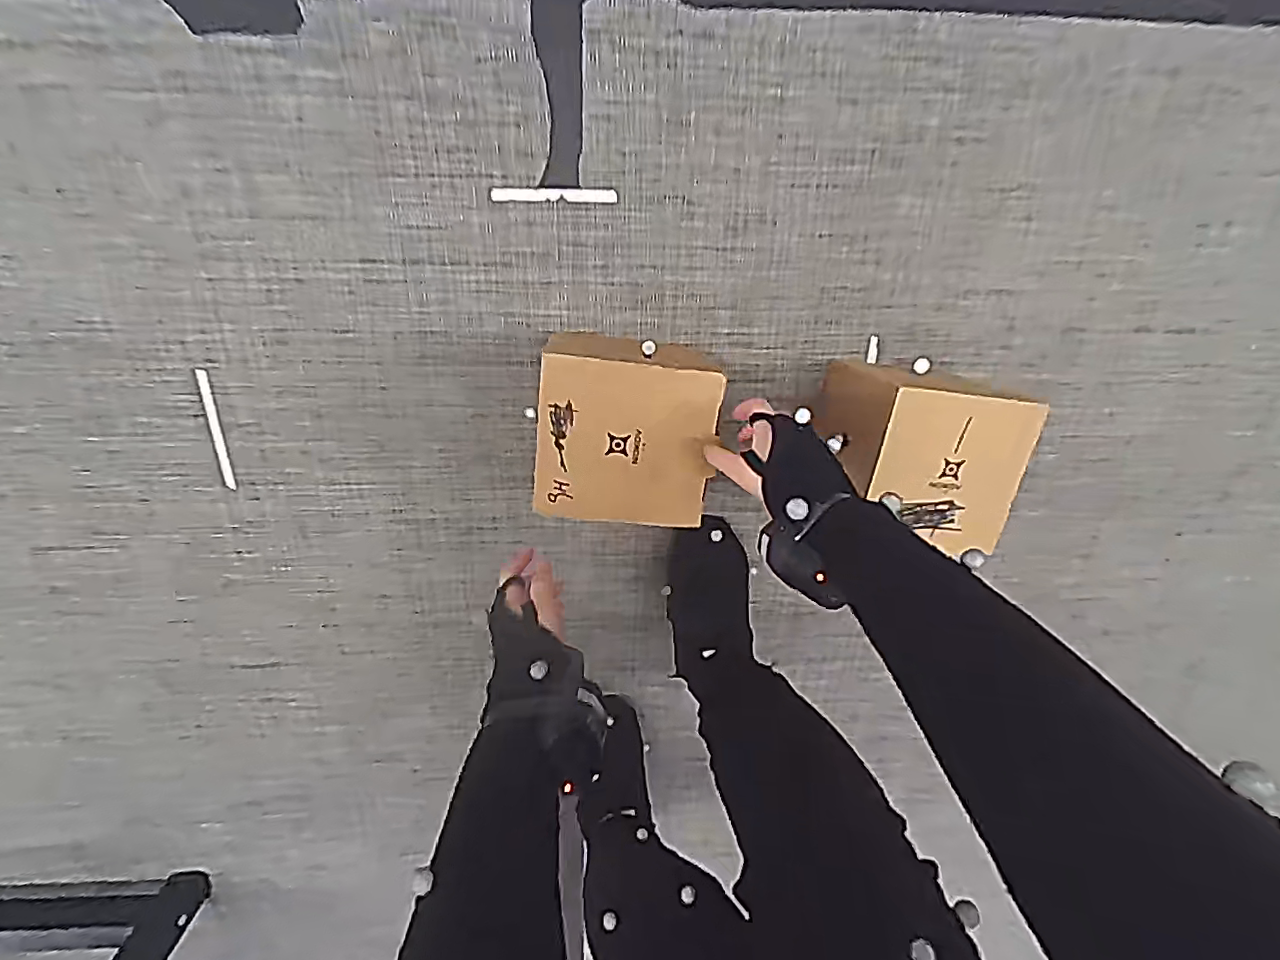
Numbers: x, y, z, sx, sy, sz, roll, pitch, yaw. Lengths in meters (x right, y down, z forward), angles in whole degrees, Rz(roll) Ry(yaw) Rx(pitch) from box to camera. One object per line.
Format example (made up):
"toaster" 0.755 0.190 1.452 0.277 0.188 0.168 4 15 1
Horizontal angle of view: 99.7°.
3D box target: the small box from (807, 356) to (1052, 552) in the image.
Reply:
"small box" 0.313 -0.037 0.631 0.168 0.176 0.179 6 110 -7

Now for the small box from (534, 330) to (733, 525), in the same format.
"small box" -0.017 -0.065 0.593 0.179 0.176 0.168 5 111 -7
